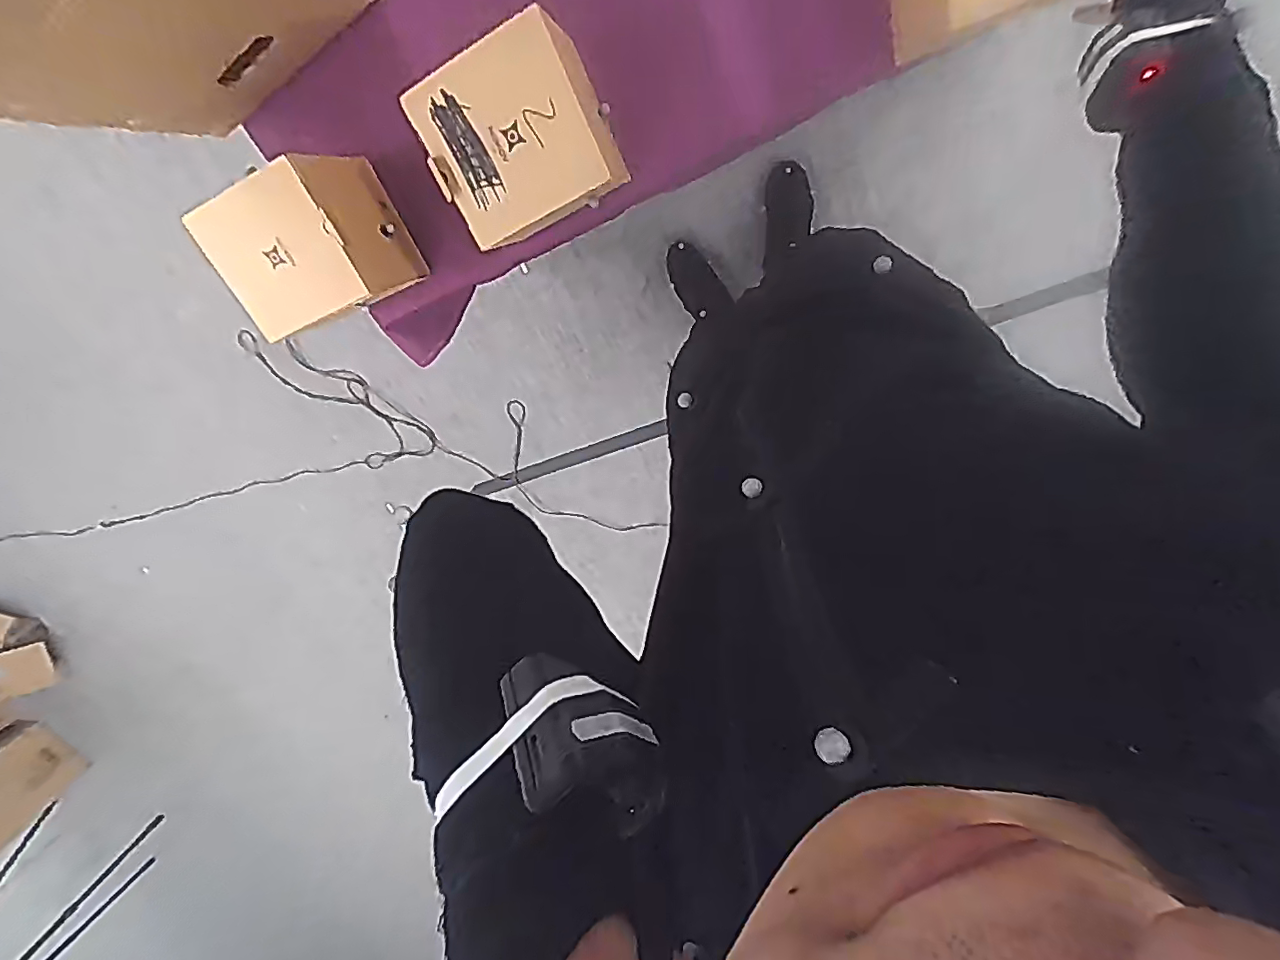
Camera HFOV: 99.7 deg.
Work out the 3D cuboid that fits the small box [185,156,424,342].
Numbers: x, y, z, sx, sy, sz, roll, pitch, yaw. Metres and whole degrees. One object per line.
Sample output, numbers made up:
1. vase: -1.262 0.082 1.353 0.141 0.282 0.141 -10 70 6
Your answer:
1. small box: -0.434 -0.310 0.732 0.179 0.176 0.168 -19 115 16
